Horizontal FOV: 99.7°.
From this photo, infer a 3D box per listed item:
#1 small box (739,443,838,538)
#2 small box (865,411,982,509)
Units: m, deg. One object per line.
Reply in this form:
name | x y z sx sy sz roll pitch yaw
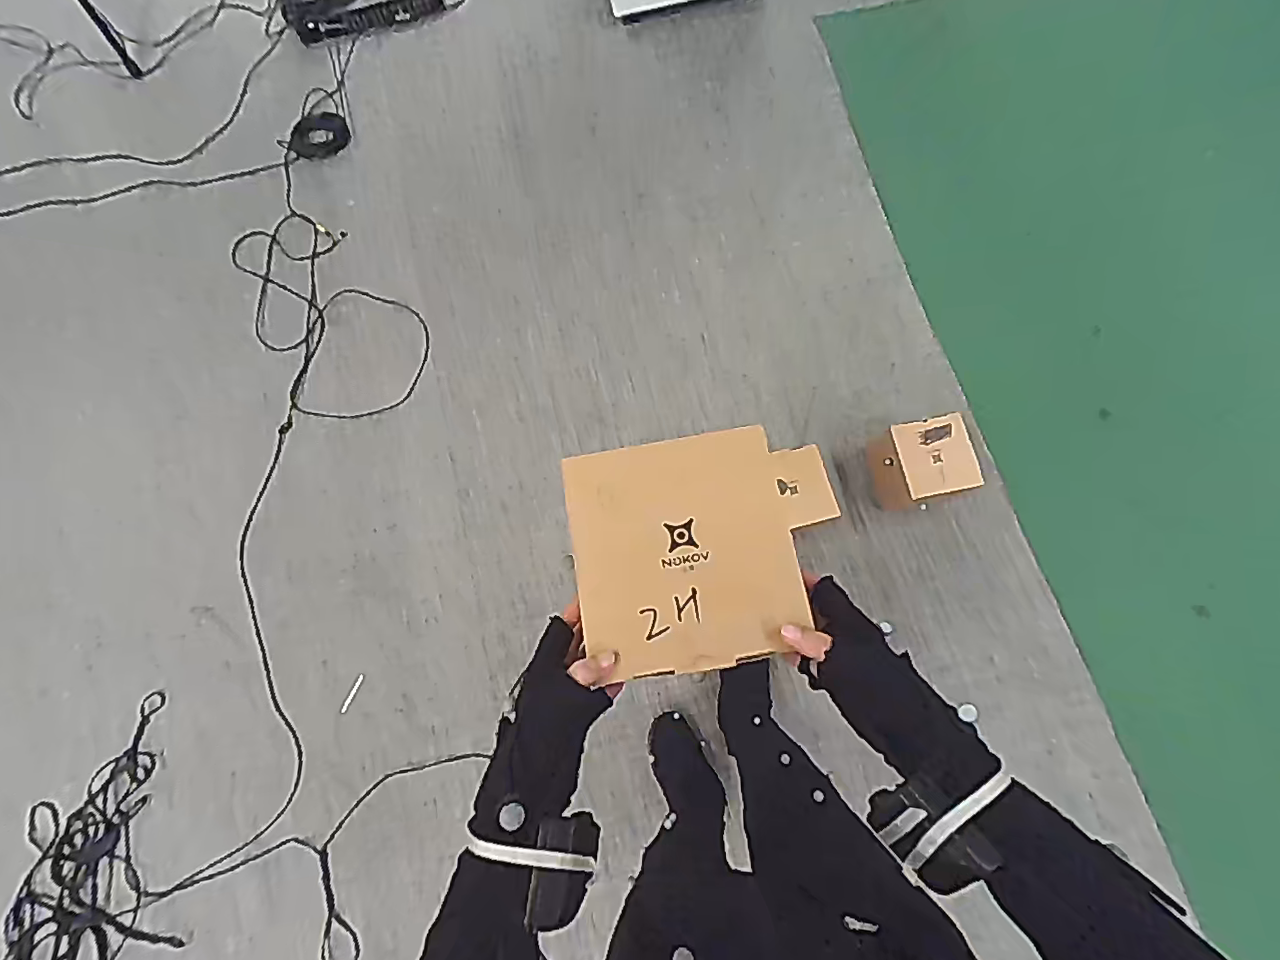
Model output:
small box | 0.343 0.034 1.282 0.168 0.176 0.179 -15 75 -1
small box | 0.660 -0.041 1.284 0.168 0.176 0.179 -11 77 0
